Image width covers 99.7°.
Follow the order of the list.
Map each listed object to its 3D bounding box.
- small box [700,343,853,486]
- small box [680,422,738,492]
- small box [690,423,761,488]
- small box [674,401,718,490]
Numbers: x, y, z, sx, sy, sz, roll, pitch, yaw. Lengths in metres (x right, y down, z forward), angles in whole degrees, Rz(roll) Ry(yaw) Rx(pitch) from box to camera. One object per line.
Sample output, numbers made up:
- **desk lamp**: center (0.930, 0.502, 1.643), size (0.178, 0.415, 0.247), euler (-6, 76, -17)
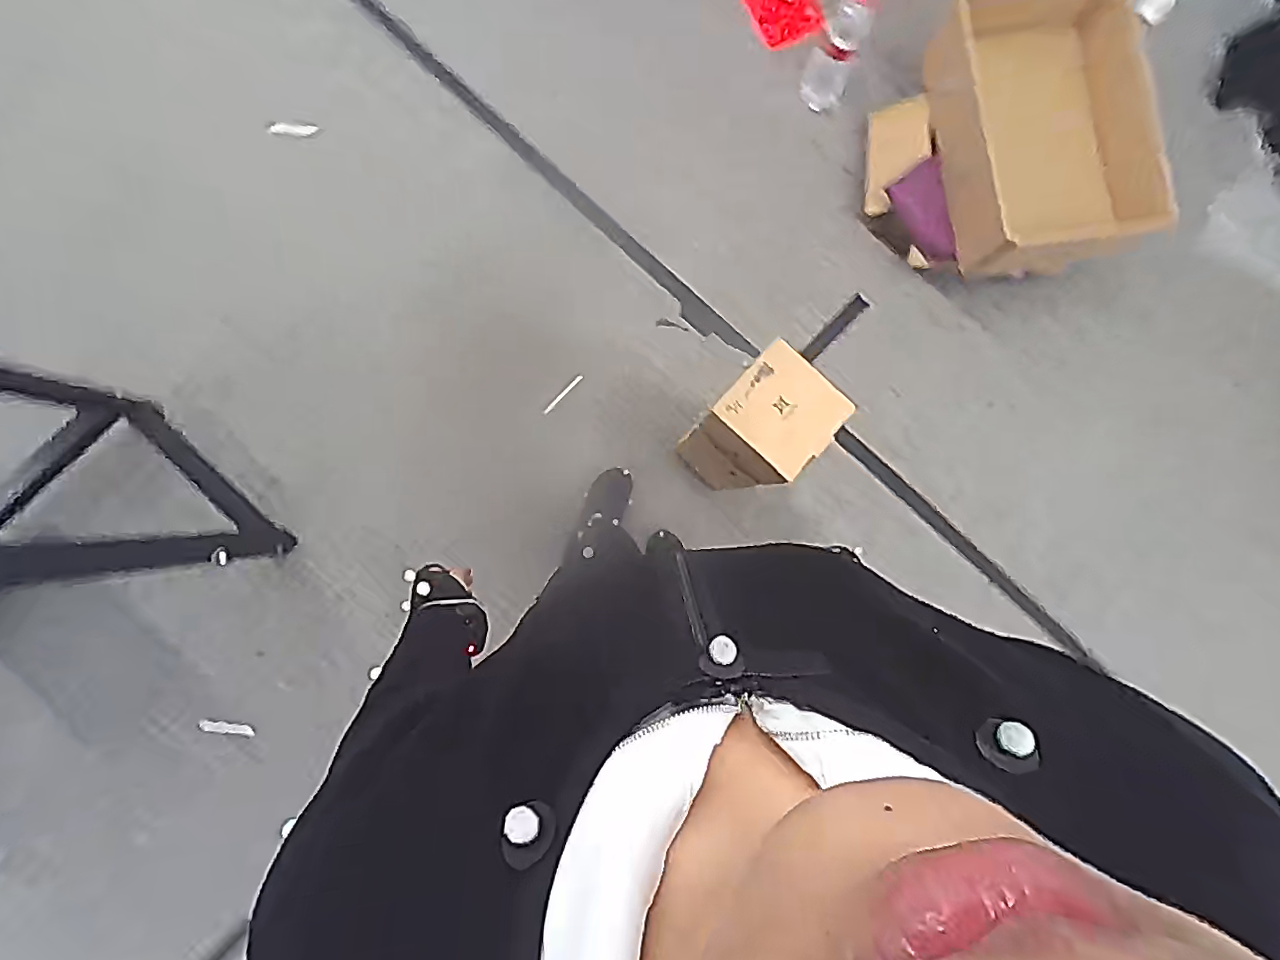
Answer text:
- **small box**: center (0.228, -0.107, 0.951), size (0.179, 0.176, 0.168), euler (43, 87, 0)
- **small box**: center (0.210, -0.088, 1.276), size (0.168, 0.176, 0.179), euler (44, 87, 1)
- **small box**: center (0.218, -0.097, 1.114), size (0.168, 0.176, 0.179), euler (44, 86, 0)
- **small box**: center (0.207, -0.085, 1.440), size (0.179, 0.176, 0.168), euler (44, 87, 1)
